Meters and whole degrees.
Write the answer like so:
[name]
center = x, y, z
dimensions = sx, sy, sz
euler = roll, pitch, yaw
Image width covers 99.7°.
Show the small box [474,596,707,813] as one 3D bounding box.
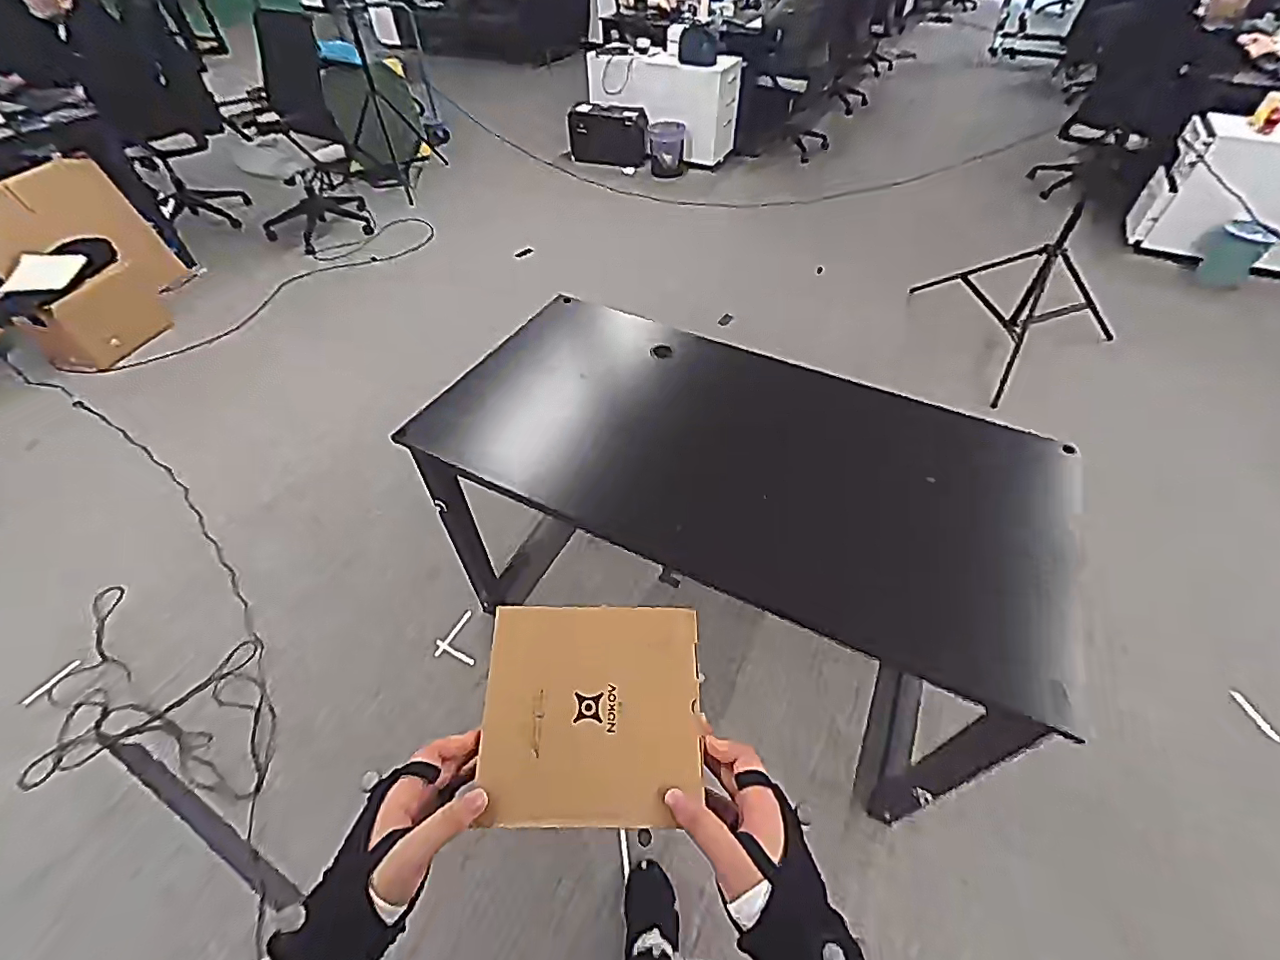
[small box]
center = -0.039, 0.214, 0.509
dimensions = 0.179, 0.176, 0.168
euler = -1, 59, -1
